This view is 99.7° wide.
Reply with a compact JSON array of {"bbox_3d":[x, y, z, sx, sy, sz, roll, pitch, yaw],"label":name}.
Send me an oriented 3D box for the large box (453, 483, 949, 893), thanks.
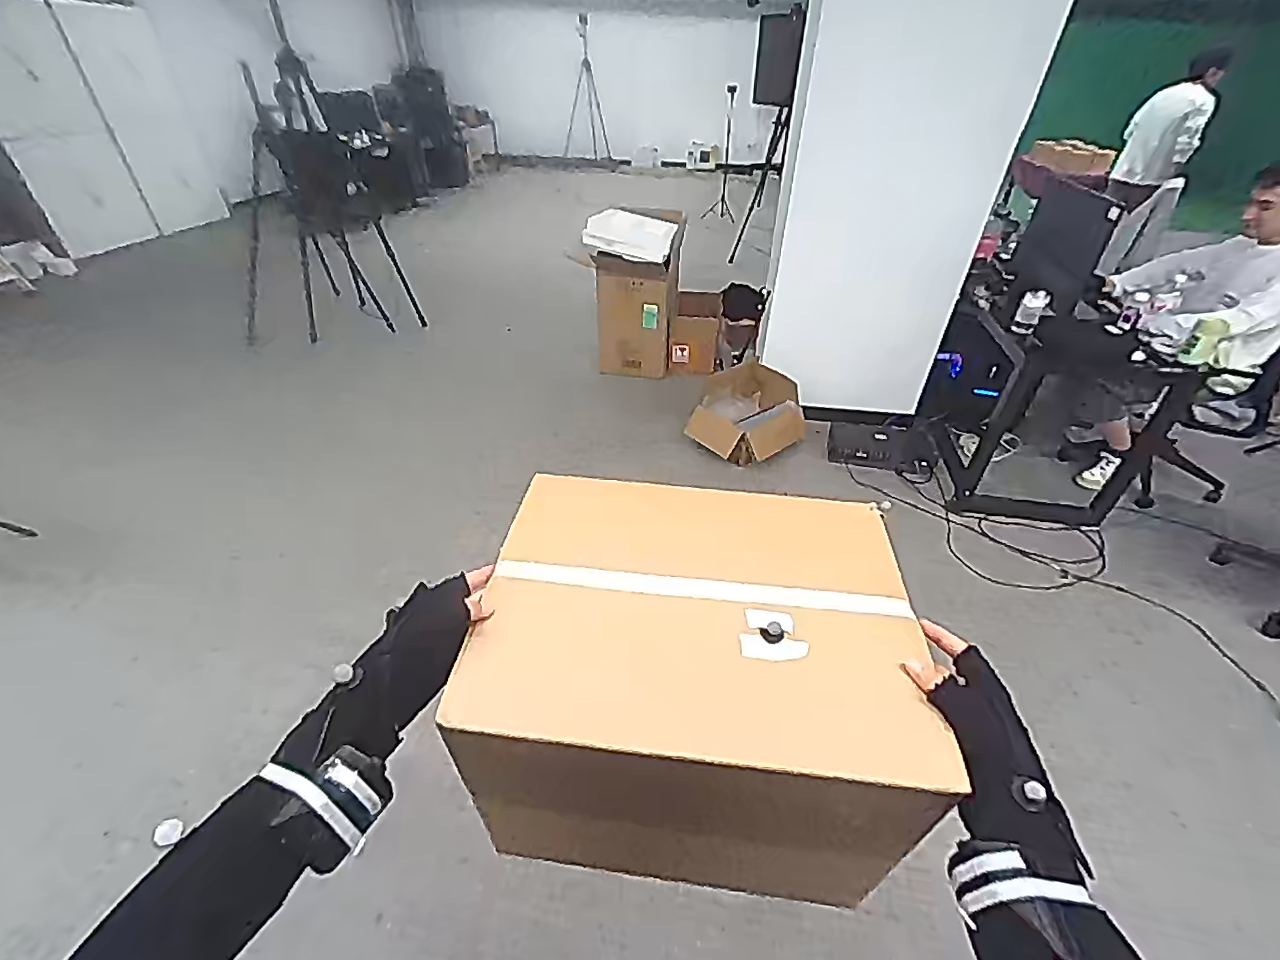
[{"bbox_3d":[0.052,0.231,0.633,0.408,0.320,0.320,6,40,4],"label":"large box"}]
